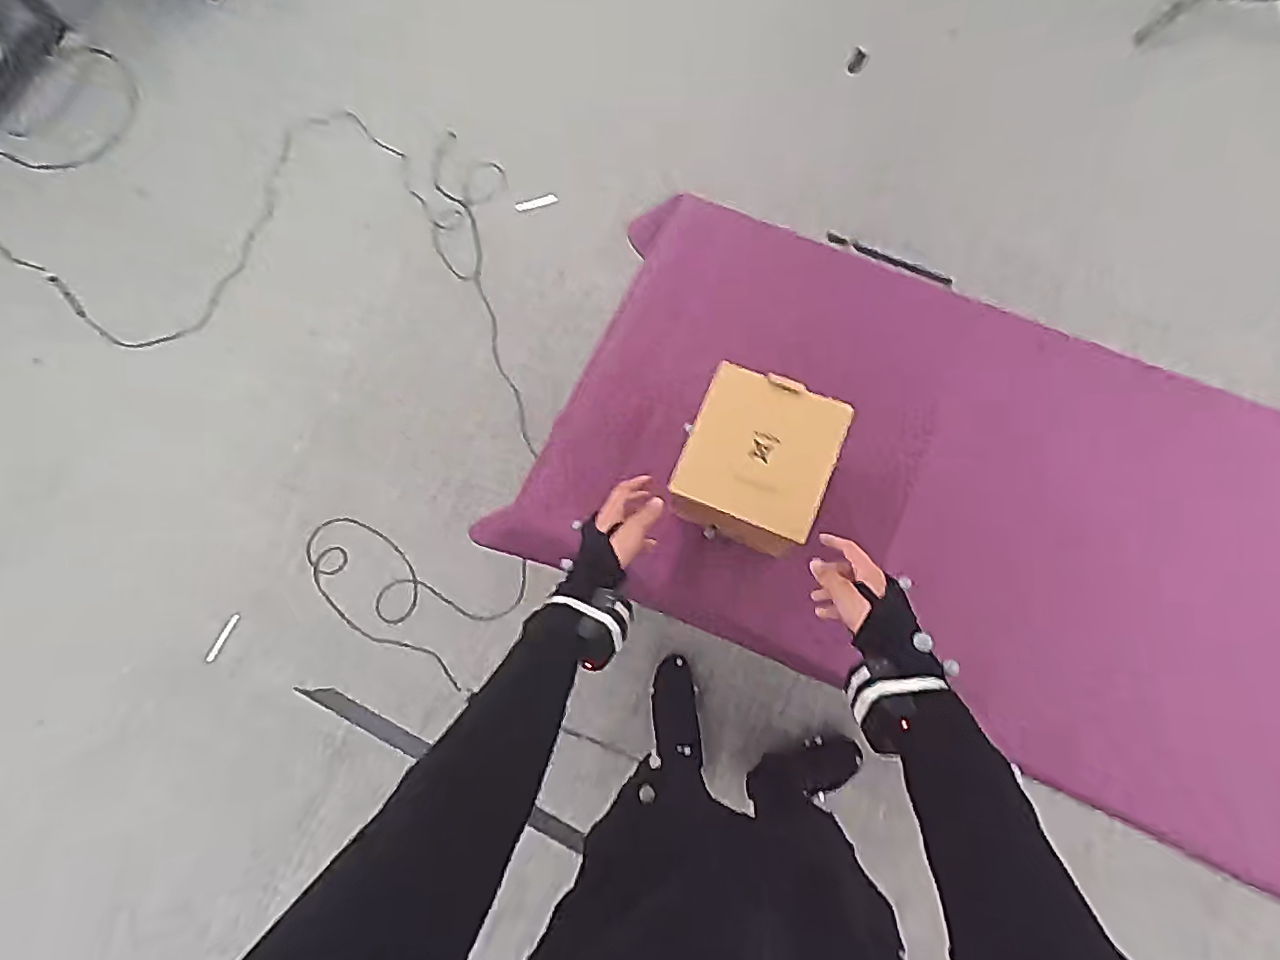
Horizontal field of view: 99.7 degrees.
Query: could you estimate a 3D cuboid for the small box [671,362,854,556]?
[{"bbox_3d":[0.145,-0.017,0.698,0.168,0.176,0.179,23,79,9],"label":"small box"}]
